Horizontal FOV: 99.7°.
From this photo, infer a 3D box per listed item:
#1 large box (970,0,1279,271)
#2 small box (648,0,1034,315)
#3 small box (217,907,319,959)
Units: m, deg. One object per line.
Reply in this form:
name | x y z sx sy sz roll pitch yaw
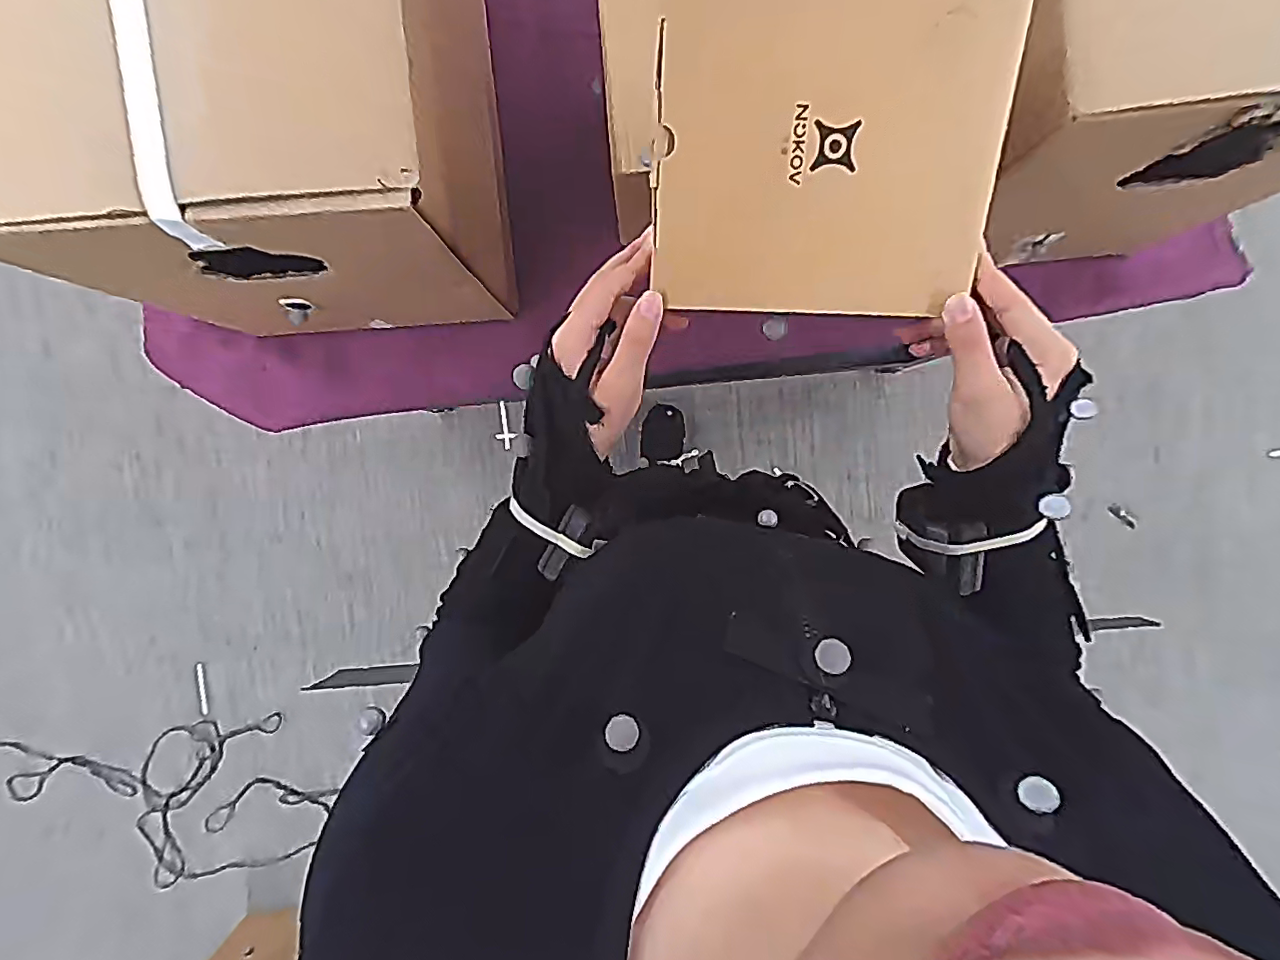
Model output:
large box | 0.390 -0.433 0.467 0.320 0.320 0.408 -6 92 1
small box | 0.098 -0.200 0.347 0.179 0.176 0.168 3 110 3
small box | -0.962 1.250 1.399 0.179 0.176 0.168 -6 94 2
